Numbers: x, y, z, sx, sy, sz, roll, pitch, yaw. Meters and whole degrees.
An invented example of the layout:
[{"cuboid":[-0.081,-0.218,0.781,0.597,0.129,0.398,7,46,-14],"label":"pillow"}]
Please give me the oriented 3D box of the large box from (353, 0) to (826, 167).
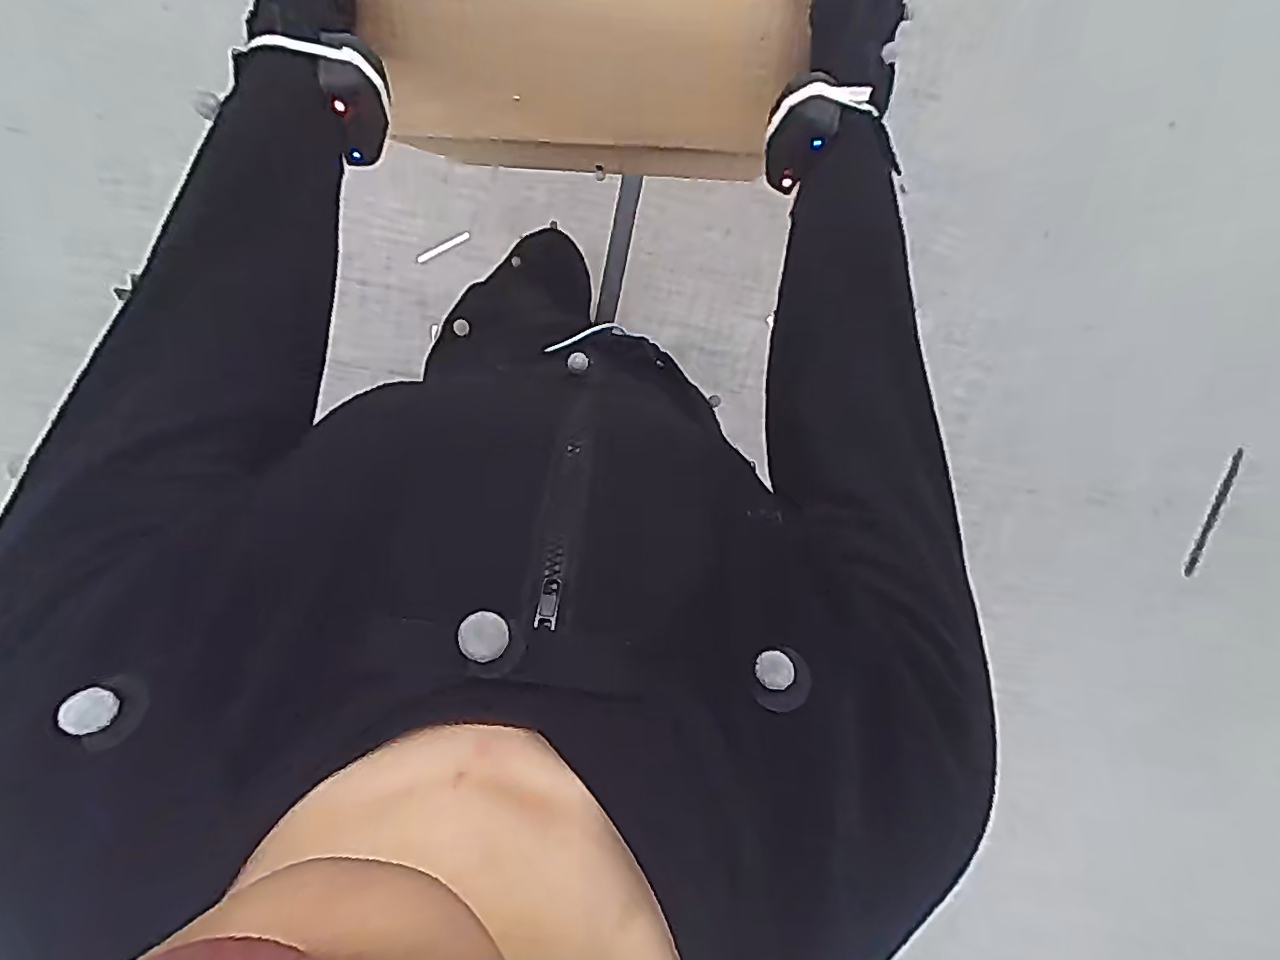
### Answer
[{"cuboid":[-0.037,-0.517,0.561,0.408,0.320,0.320,3,115,0],"label":"large box"}]
